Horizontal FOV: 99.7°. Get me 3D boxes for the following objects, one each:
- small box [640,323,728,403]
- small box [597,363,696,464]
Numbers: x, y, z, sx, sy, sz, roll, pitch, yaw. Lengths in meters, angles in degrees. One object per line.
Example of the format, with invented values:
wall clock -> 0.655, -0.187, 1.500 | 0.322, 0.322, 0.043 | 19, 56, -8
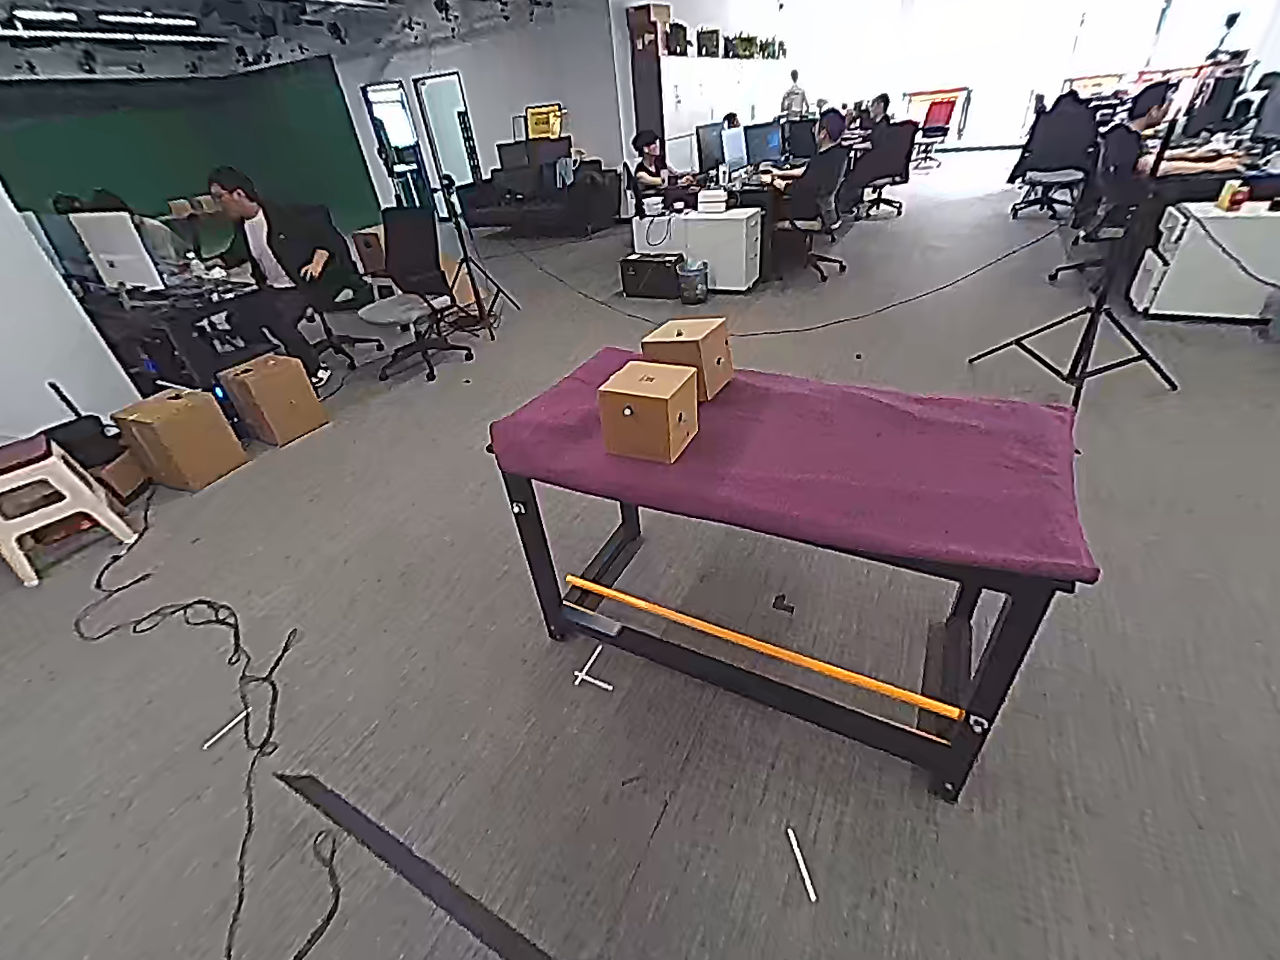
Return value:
small box -> 0.128, -0.317, 1.452 | 0.179, 0.168, 0.176 | 8, 35, 32
small box -> 0.023, -0.154, 1.256 | 0.179, 0.176, 0.168 | 11, 38, 24
